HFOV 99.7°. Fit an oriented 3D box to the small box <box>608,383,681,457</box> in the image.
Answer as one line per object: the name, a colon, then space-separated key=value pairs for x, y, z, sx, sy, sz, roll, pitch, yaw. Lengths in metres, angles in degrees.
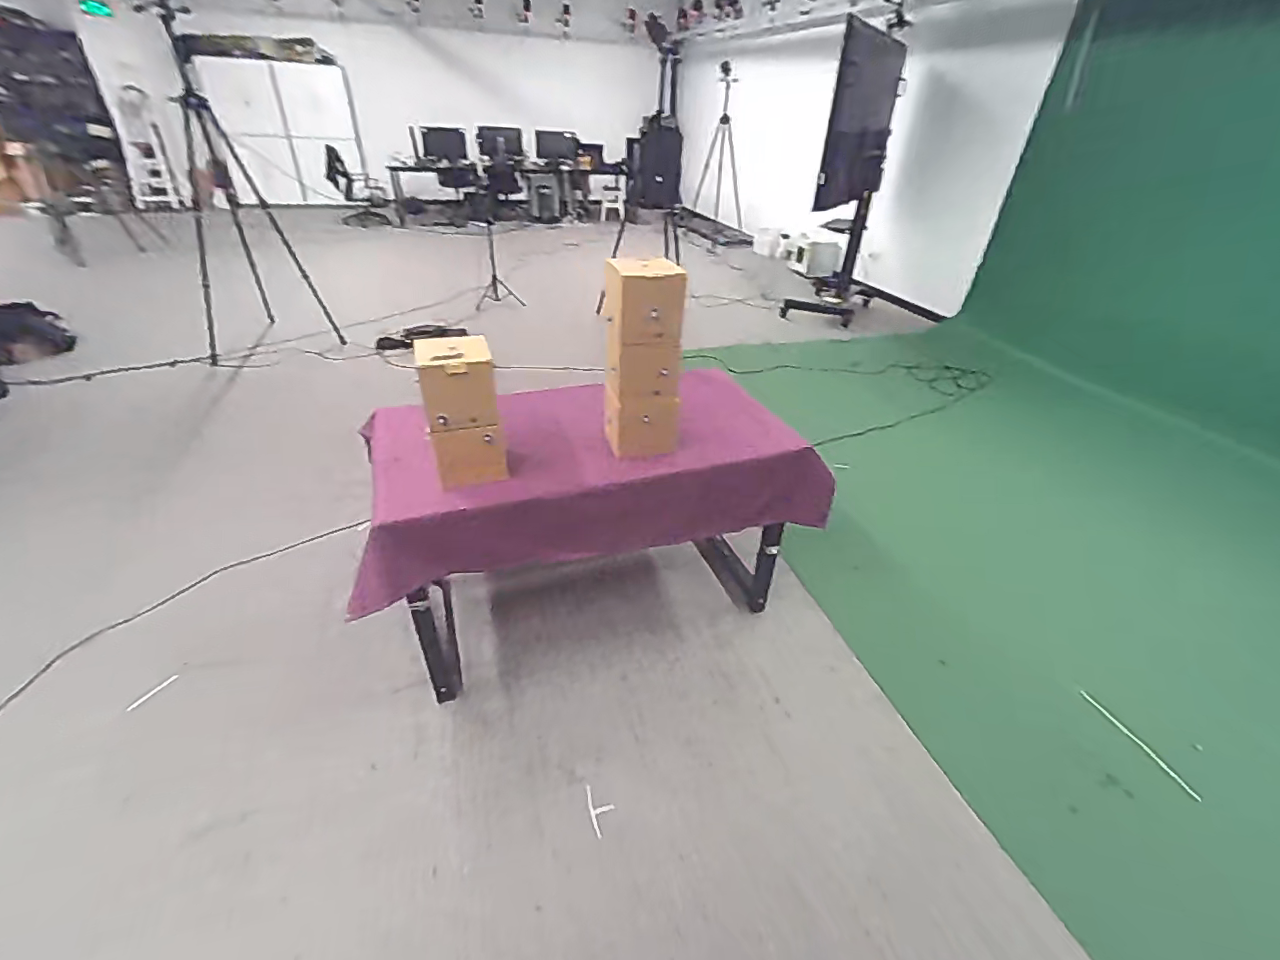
small box: x=0.009 y=-0.177 z=1.554 sx=0.179 sy=0.176 sz=0.168 roll=-7 pitch=36 yaw=-13

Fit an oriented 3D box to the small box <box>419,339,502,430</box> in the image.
small box: x=-0.438 y=-0.230 z=1.323 sx=0.168 sy=0.176 sz=0.179 roll=-9 pitch=34 yaw=-17

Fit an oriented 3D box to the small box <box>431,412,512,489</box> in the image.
small box: x=-0.440 y=-0.092 z=1.412 sx=0.179 sy=0.176 sz=0.168 roll=-9 pitch=36 yaw=-17

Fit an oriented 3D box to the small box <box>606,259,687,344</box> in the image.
small box: x=0.011 y=-0.452 z=1.376 sx=0.168 sy=0.176 sz=0.179 roll=-7 pitch=36 yaw=-14

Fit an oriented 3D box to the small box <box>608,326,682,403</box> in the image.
small box: x=0.010 y=-0.316 z=1.469 sx=0.168 sy=0.176 sz=0.179 roll=-7 pitch=35 yaw=-13
